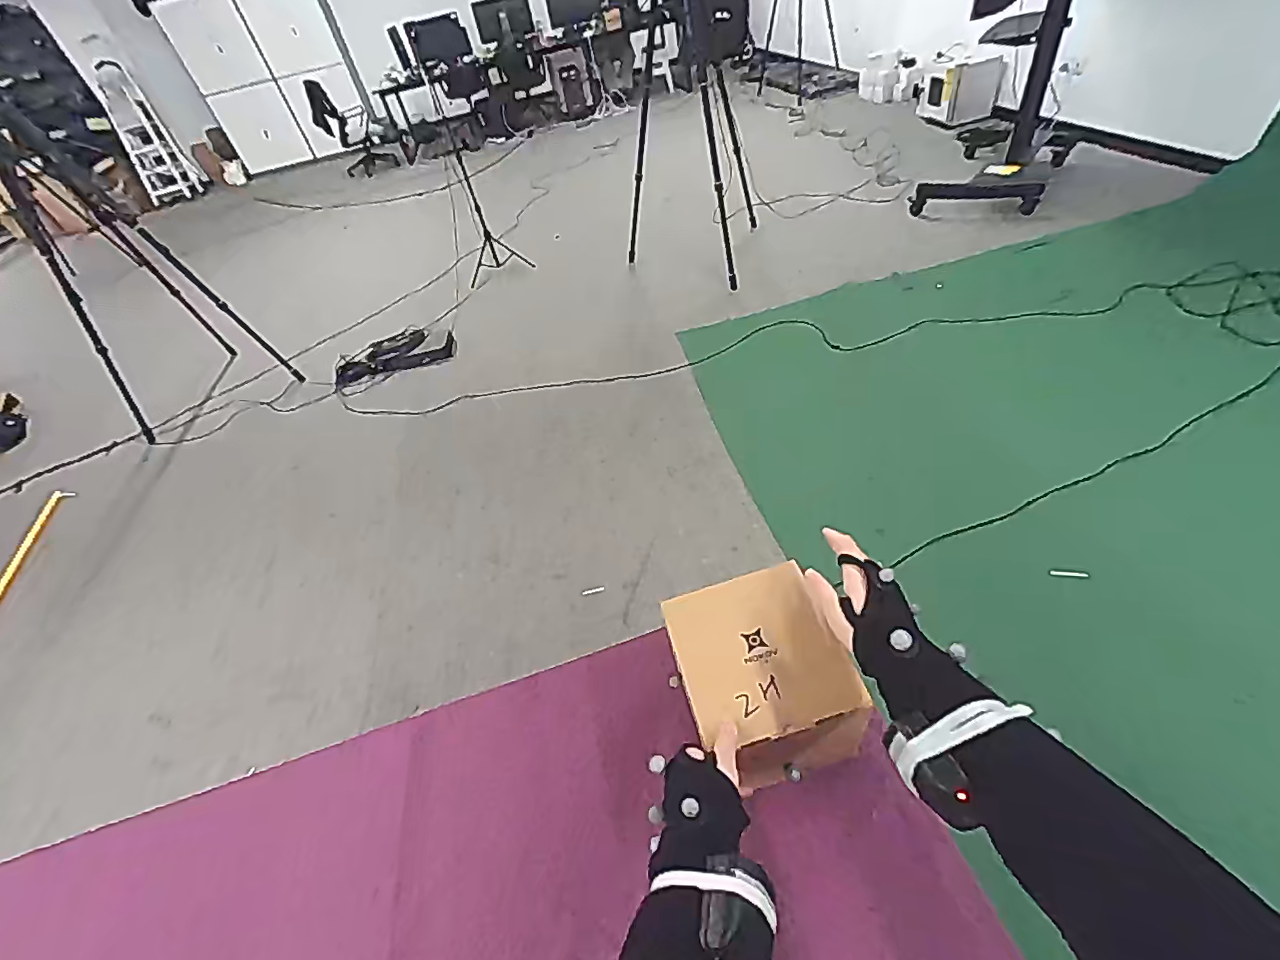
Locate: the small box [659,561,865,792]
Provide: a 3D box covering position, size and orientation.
[{"bbox_3d":[0.131,0.227,0.623,0.168,0.176,0.179,-18,47,-1],"label":"small box"}]
